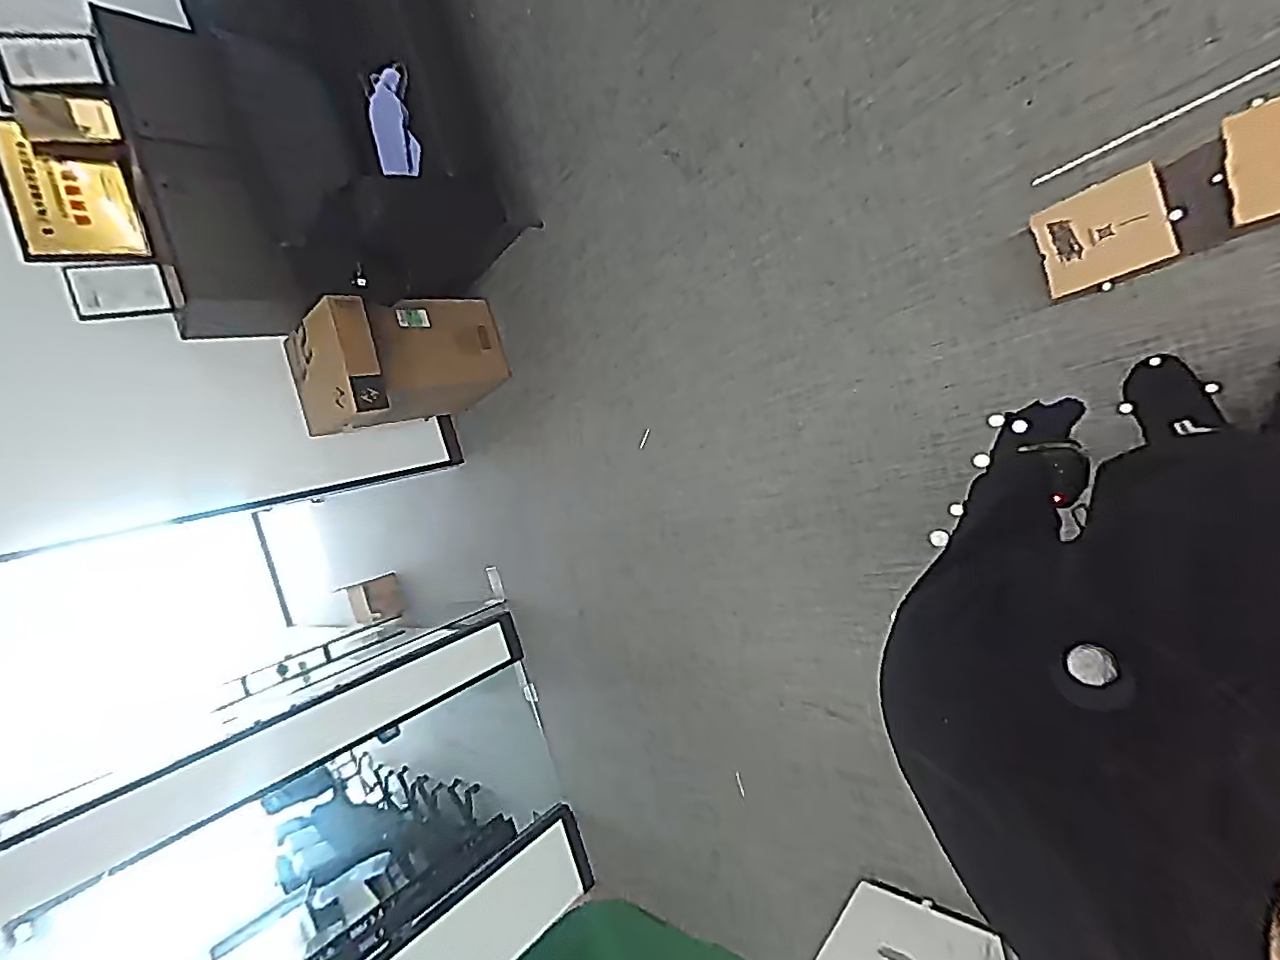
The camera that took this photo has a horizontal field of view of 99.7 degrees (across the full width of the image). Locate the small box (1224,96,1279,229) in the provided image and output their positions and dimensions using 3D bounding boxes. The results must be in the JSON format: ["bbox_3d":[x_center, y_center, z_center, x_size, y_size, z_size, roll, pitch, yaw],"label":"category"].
[{"bbox_3d":[1.034,-0.506,0.828,0.179,0.176,0.168,-9,97,48],"label":"small box"}]

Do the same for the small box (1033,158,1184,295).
[{"bbox_3d":[0.874,-0.455,1.008,0.179,0.176,0.168,-17,91,47],"label":"small box"}]
